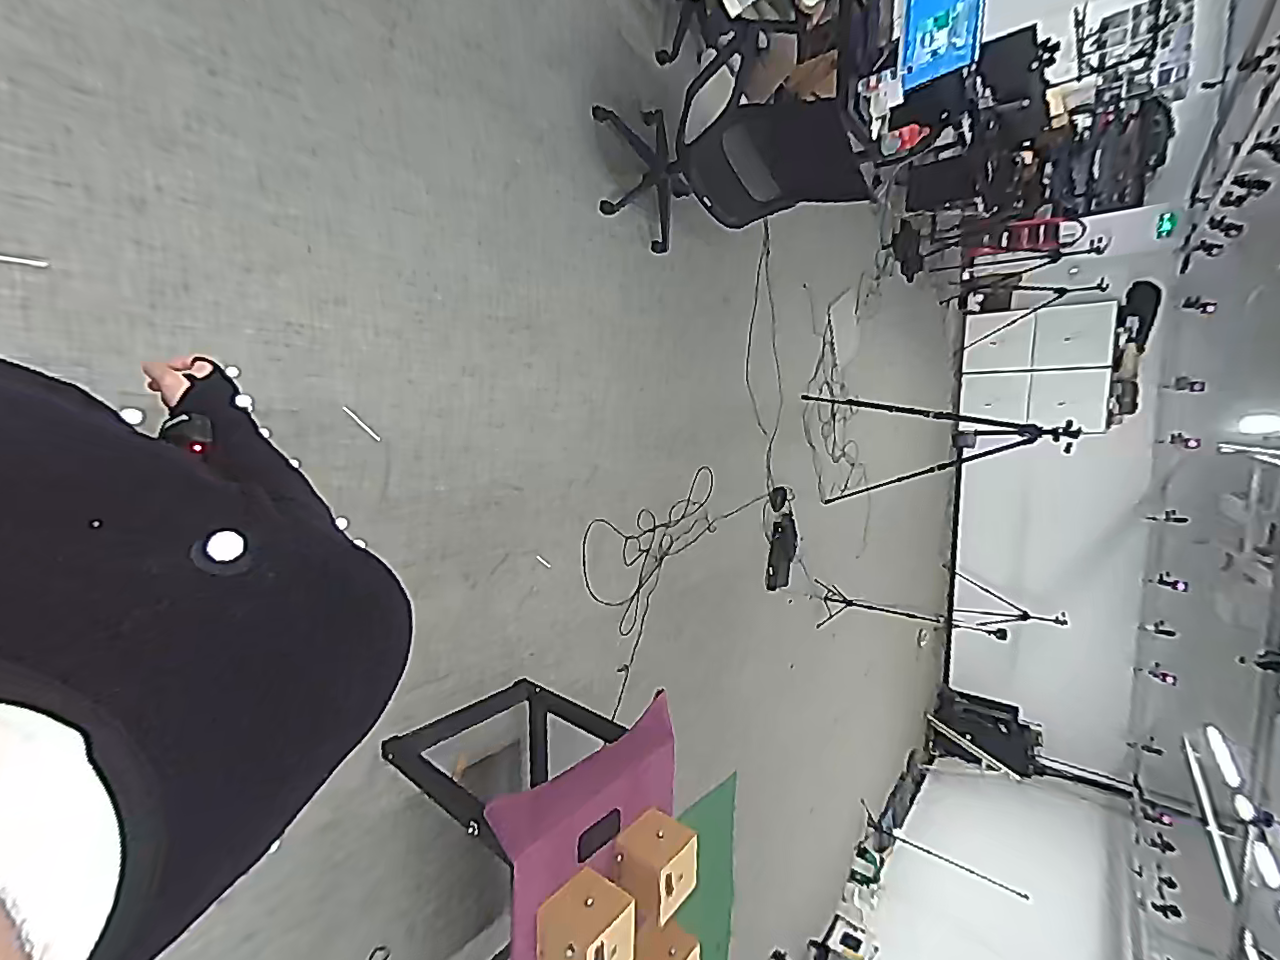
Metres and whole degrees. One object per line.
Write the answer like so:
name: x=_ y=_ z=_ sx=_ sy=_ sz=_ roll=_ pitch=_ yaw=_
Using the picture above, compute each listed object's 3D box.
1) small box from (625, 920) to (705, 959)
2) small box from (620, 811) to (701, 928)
small box: x=0.073 y=1.446 z=1.582 sx=0.179 sy=0.176 sz=0.168 roll=-7 pitch=99 yaw=-49
small box: x=0.055 y=1.085 z=1.523 sx=0.179 sy=0.176 sz=0.168 roll=-8 pitch=100 yaw=-50
